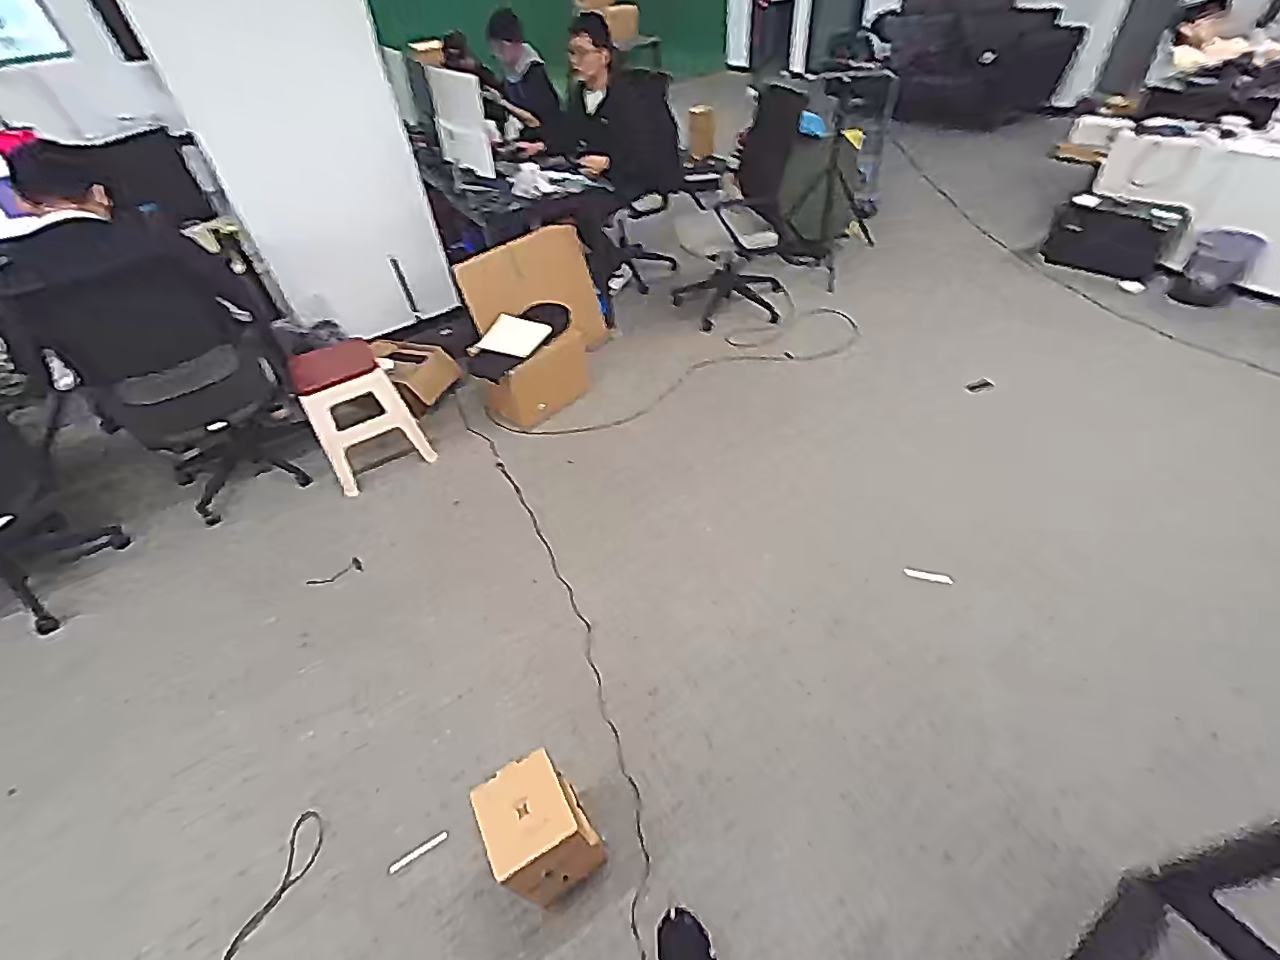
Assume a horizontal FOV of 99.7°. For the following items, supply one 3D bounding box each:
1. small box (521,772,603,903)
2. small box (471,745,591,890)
[{"bbox_3d":[-0.196,0.803,1.215,0.179,0.176,0.168,-29,48,-19],"label":"small box"},{"bbox_3d":[-0.218,0.689,1.102,0.168,0.176,0.179,-27,49,-17],"label":"small box"}]
